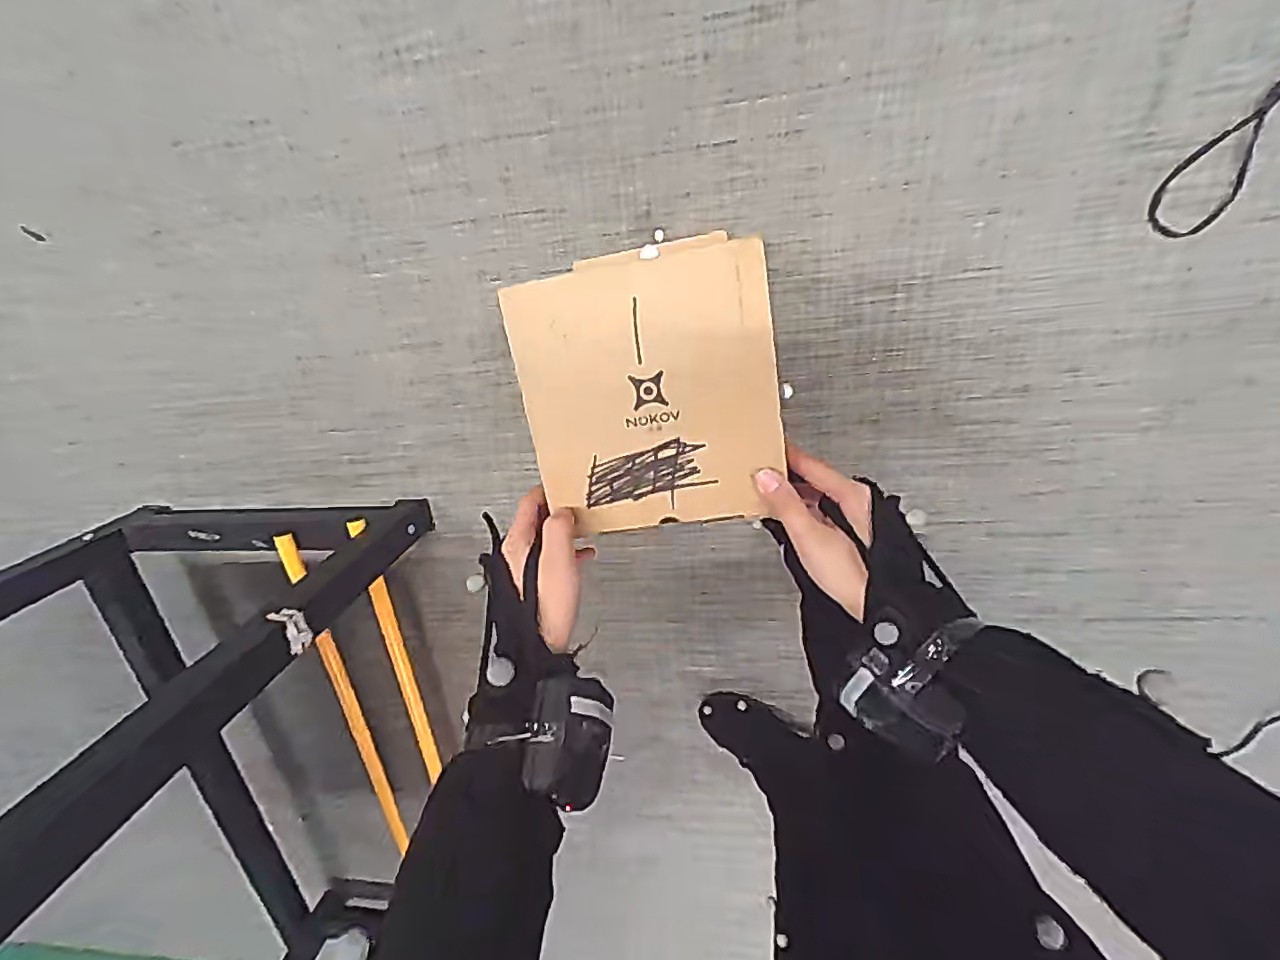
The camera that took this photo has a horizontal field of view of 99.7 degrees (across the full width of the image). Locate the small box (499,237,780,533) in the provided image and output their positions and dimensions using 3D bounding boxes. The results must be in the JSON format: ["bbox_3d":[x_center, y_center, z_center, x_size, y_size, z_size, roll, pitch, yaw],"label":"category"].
[{"bbox_3d":[0.013,-0.076,0.426,0.168,0.176,0.179,-7,106,9],"label":"small box"}]

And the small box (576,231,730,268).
[{"bbox_3d":[0.036,-0.191,0.657,0.168,0.176,0.179,-7,112,13],"label":"small box"}]
